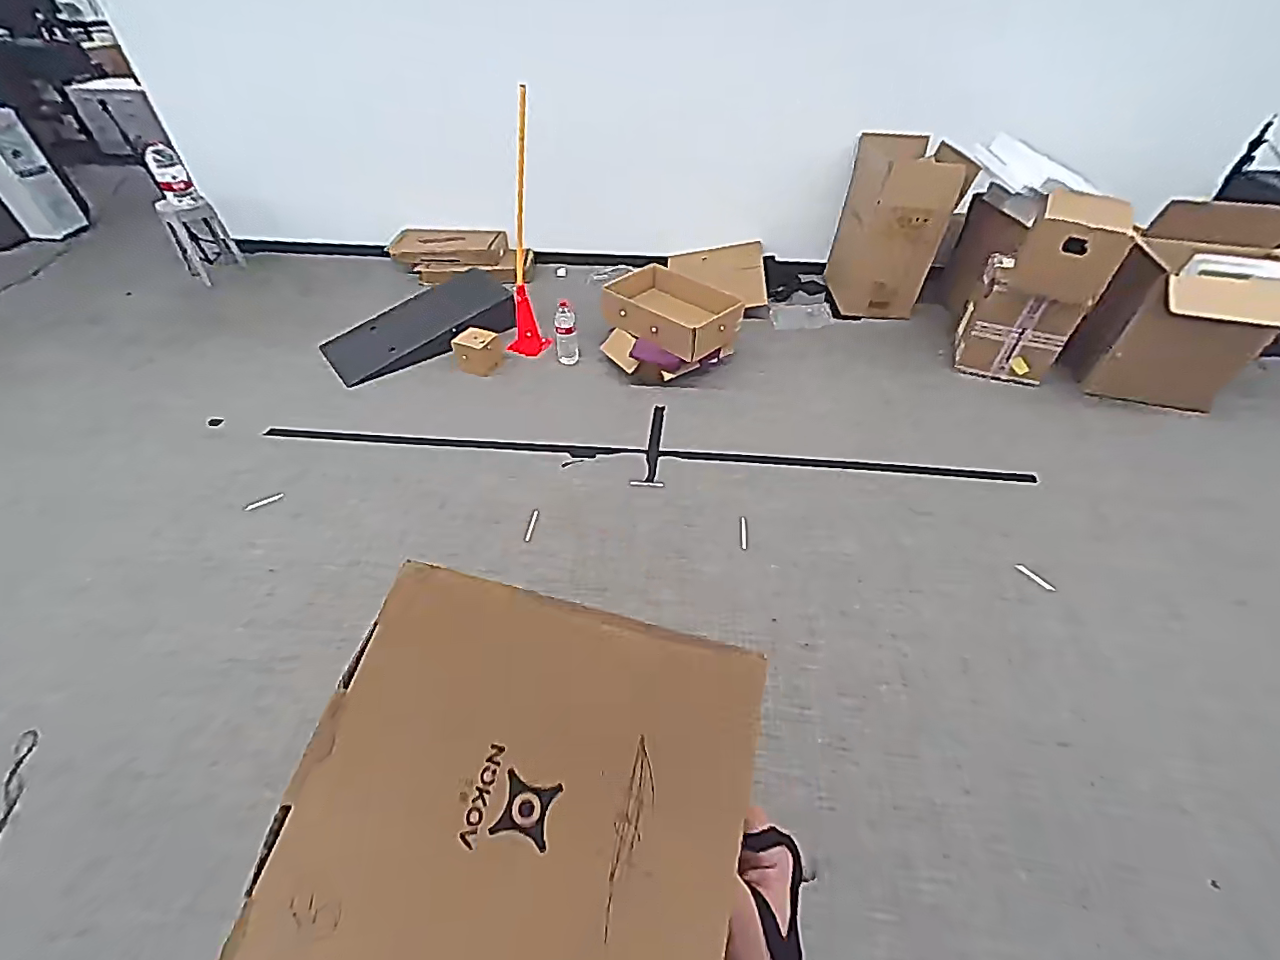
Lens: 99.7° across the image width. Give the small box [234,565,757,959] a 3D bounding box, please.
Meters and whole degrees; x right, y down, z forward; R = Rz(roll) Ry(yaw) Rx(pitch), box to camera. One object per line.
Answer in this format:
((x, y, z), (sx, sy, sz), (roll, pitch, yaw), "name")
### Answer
((-0.050, 0.167, 0.297), (0.179, 0.176, 0.168), (13, 64, 5), "small box")
